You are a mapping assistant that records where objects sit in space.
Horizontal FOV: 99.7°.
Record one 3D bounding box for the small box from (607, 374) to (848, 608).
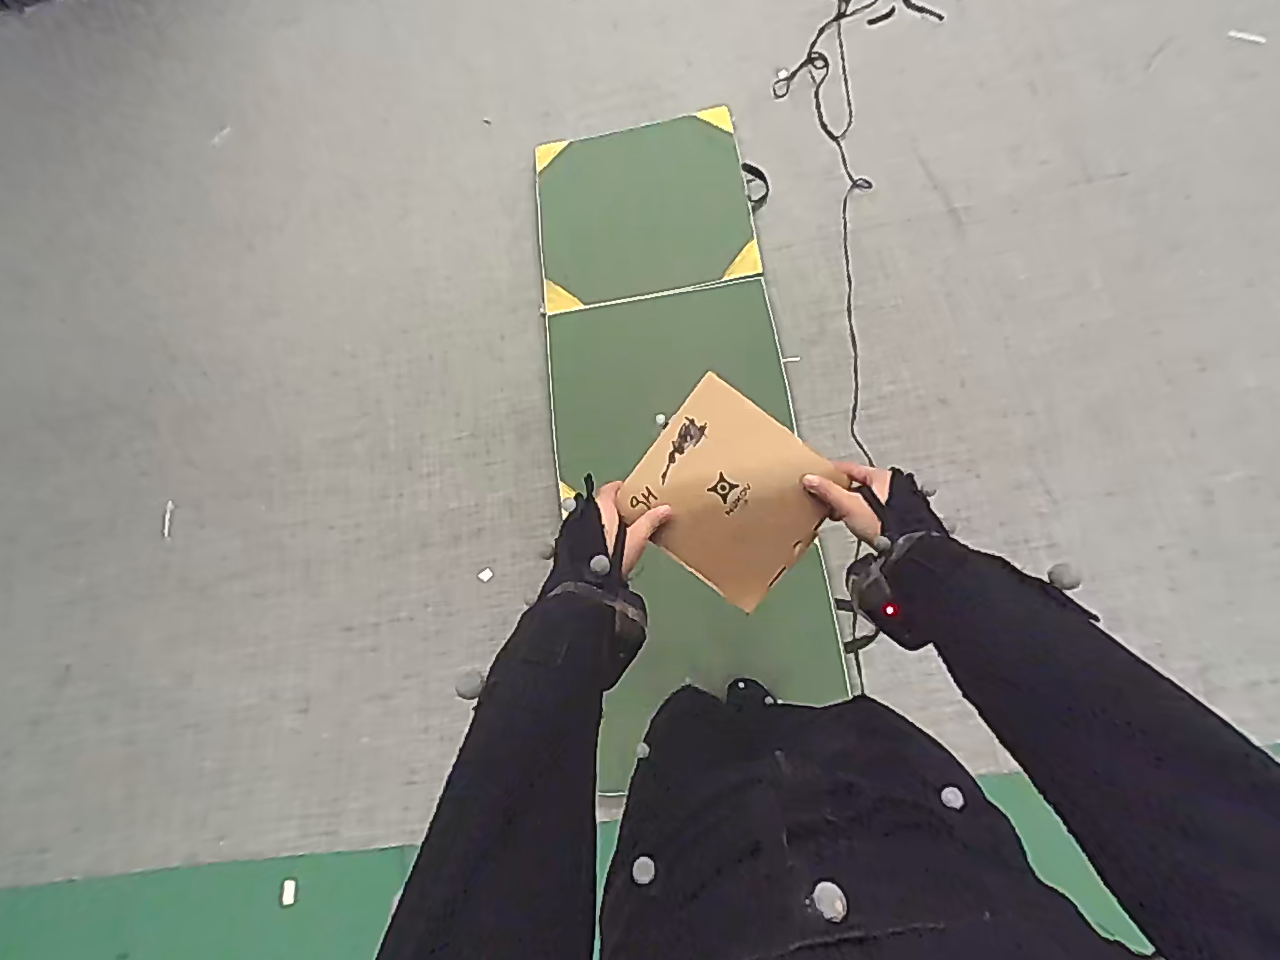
[{"bbox_3d":[0.085,0.007,0.599,0.179,0.176,0.168,37,93,-1],"label":"small box"}]
